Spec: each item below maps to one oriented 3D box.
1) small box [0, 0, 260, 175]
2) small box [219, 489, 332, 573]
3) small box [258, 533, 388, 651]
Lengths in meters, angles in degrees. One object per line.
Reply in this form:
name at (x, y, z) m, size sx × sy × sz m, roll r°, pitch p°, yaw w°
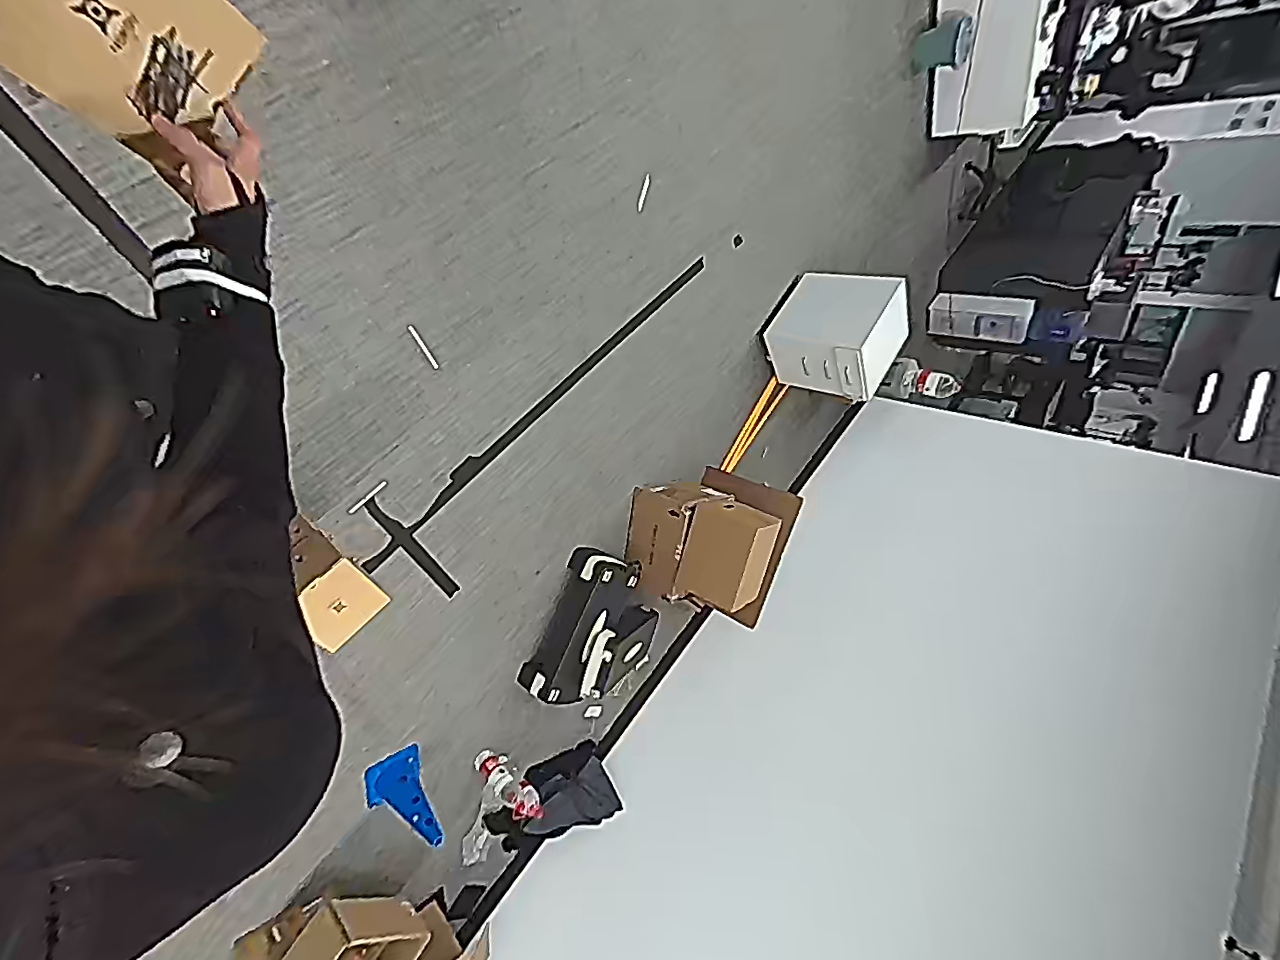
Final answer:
small box at (-0.504, -0.431, 0.499) m, size 0.168 × 0.176 × 0.179 m, roll -52°, pitch 146°, yaw 5°
small box at (-0.970, 0.151, 1.445) m, size 0.168 × 0.176 × 0.179 m, roll -49°, pitch 137°, yaw -21°
small box at (-0.729, 0.251, 1.247) m, size 0.168 × 0.176 × 0.179 m, roll -46°, pitch 137°, yaw -23°
